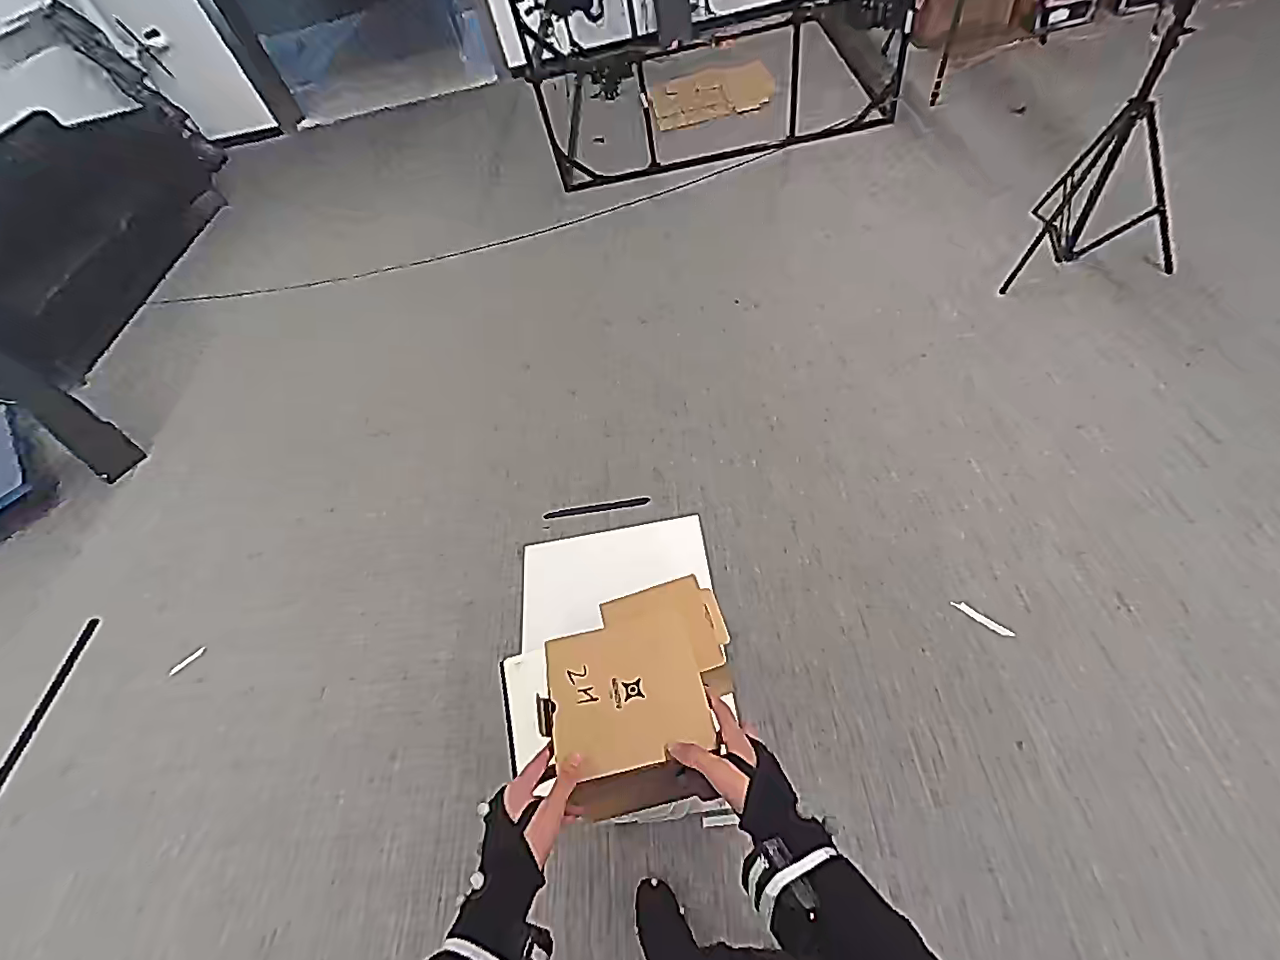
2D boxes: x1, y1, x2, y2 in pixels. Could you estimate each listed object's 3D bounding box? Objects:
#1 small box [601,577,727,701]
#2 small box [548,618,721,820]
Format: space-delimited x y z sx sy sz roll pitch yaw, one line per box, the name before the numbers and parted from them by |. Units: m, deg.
small box | 0.046 0.299 0.945 0.179 0.176 0.168 -18 52 1
small box | -0.006 0.298 0.671 0.179 0.176 0.168 -12 48 -3
